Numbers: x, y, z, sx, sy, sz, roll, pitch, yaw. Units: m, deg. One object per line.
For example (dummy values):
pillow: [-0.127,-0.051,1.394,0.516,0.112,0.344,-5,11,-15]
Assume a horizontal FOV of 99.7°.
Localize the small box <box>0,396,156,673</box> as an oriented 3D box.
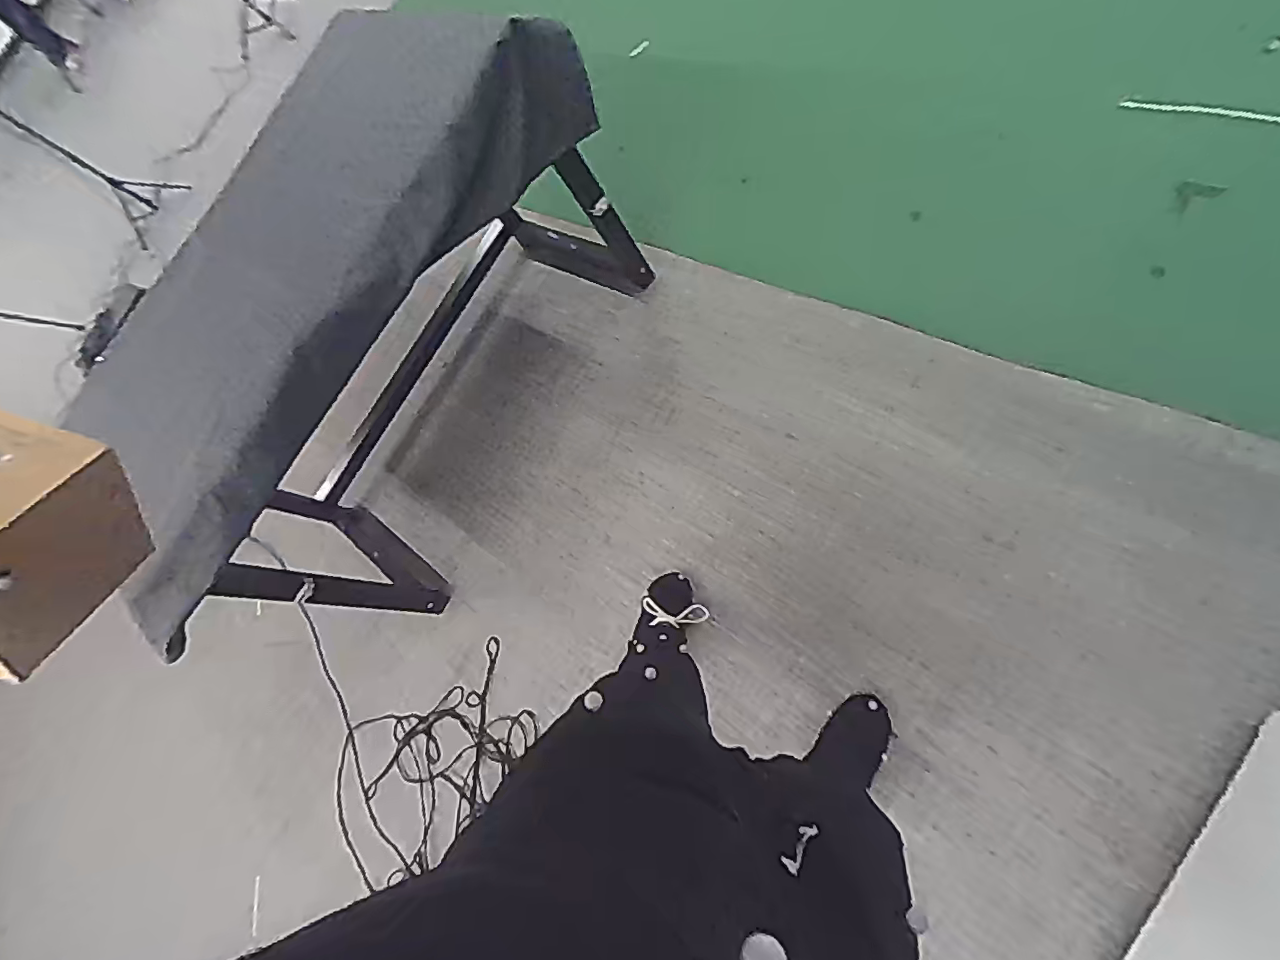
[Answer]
small box: [-0.608,0.044,0.504,0.168,0.179,0.176,21,40,-9]
